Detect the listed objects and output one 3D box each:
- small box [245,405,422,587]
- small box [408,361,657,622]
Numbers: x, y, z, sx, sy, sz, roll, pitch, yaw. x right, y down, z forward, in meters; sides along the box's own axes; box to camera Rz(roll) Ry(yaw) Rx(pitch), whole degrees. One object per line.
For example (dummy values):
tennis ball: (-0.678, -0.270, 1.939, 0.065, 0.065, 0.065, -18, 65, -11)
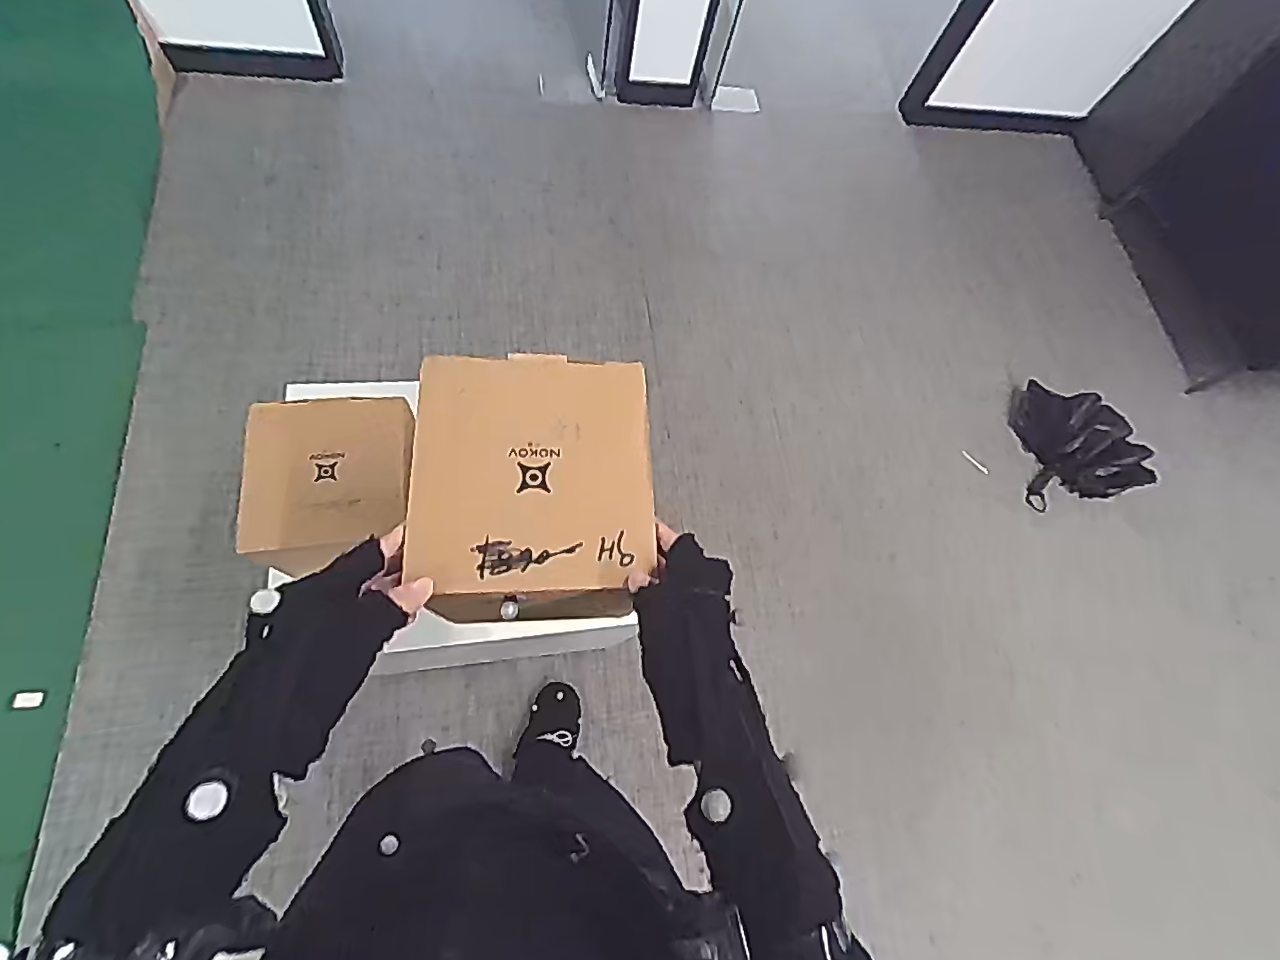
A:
small box: (-0.357, 0.026, 0.677, 0.168, 0.176, 0.179, -7, 72, -11)
small box: (-0.083, 0.019, 0.459, 0.168, 0.176, 0.179, -1, 70, -8)
